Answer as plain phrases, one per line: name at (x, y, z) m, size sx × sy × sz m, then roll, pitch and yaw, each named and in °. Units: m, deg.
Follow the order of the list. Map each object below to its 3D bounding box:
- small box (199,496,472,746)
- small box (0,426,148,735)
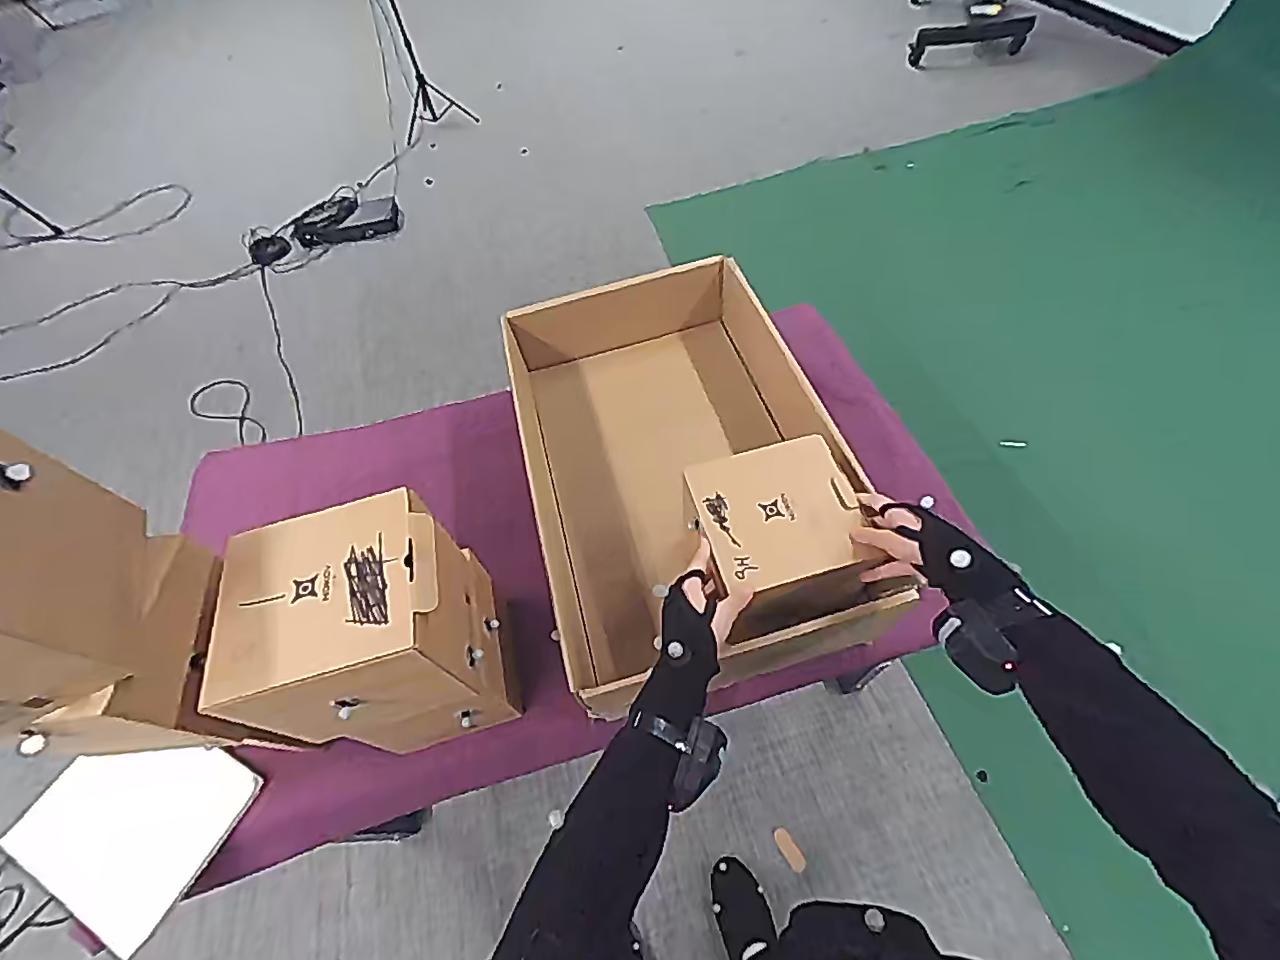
small box at (-0.278, 0.145, 0.541) m, size 0.179 × 0.176 × 0.168 m, roll -16°, pitch 55°, yaw -6°
small box at (-0.530, 0.086, 0.412) m, size 0.168 × 0.176 × 0.179 m, roll -25°, pitch 58°, yaw -9°
